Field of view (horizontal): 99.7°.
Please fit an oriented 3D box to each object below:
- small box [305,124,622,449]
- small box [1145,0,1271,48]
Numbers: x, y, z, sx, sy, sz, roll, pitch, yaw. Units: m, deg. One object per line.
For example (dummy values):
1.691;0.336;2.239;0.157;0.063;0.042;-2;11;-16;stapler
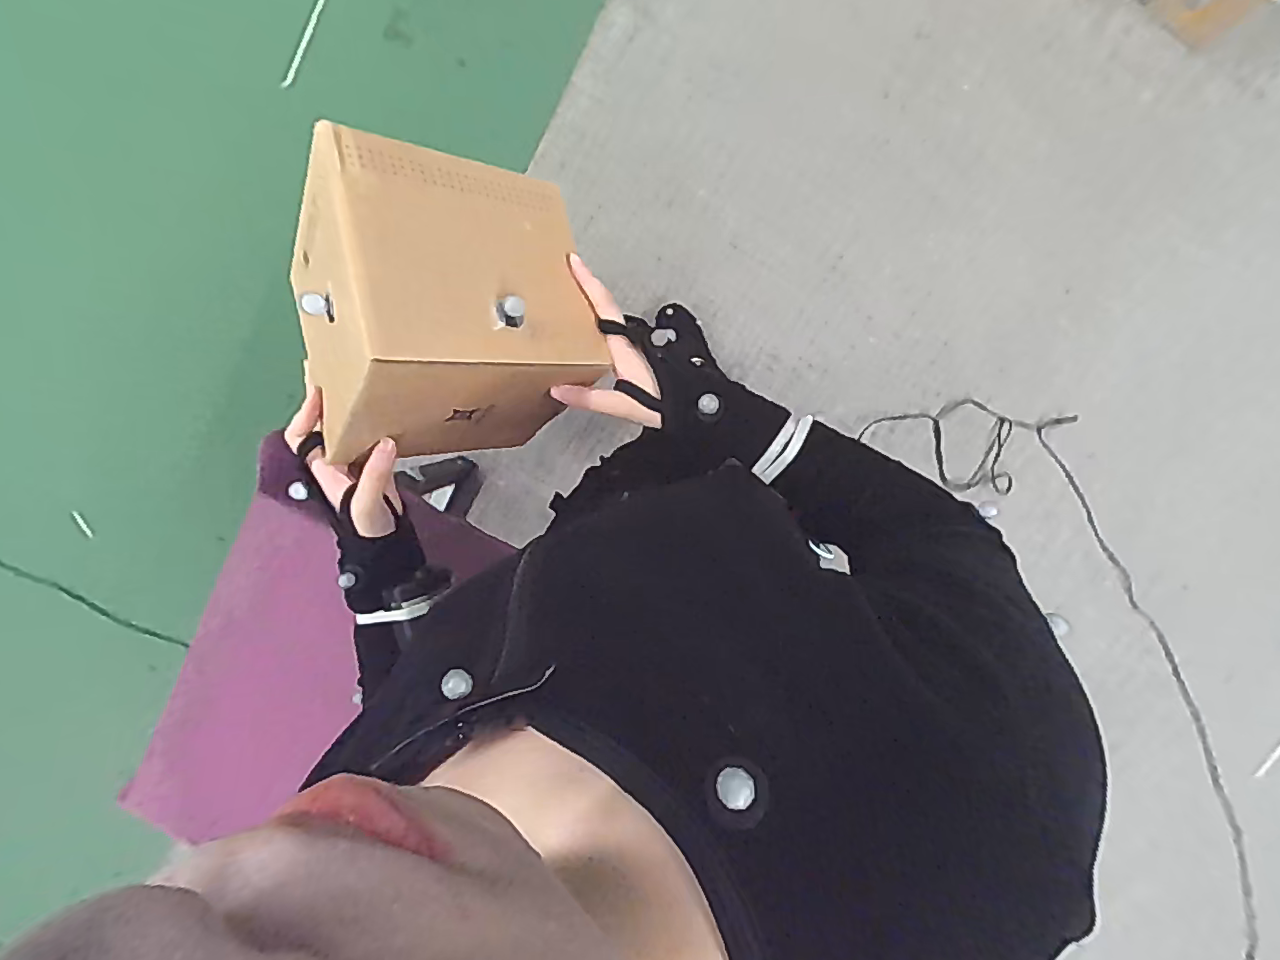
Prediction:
-0.148;-0.136;0.430;0.168;0.179;0.176;-28;76;48;small box
1.262;-1.088;1.157;0.179;0.176;0.168;38;99;-1;small box
